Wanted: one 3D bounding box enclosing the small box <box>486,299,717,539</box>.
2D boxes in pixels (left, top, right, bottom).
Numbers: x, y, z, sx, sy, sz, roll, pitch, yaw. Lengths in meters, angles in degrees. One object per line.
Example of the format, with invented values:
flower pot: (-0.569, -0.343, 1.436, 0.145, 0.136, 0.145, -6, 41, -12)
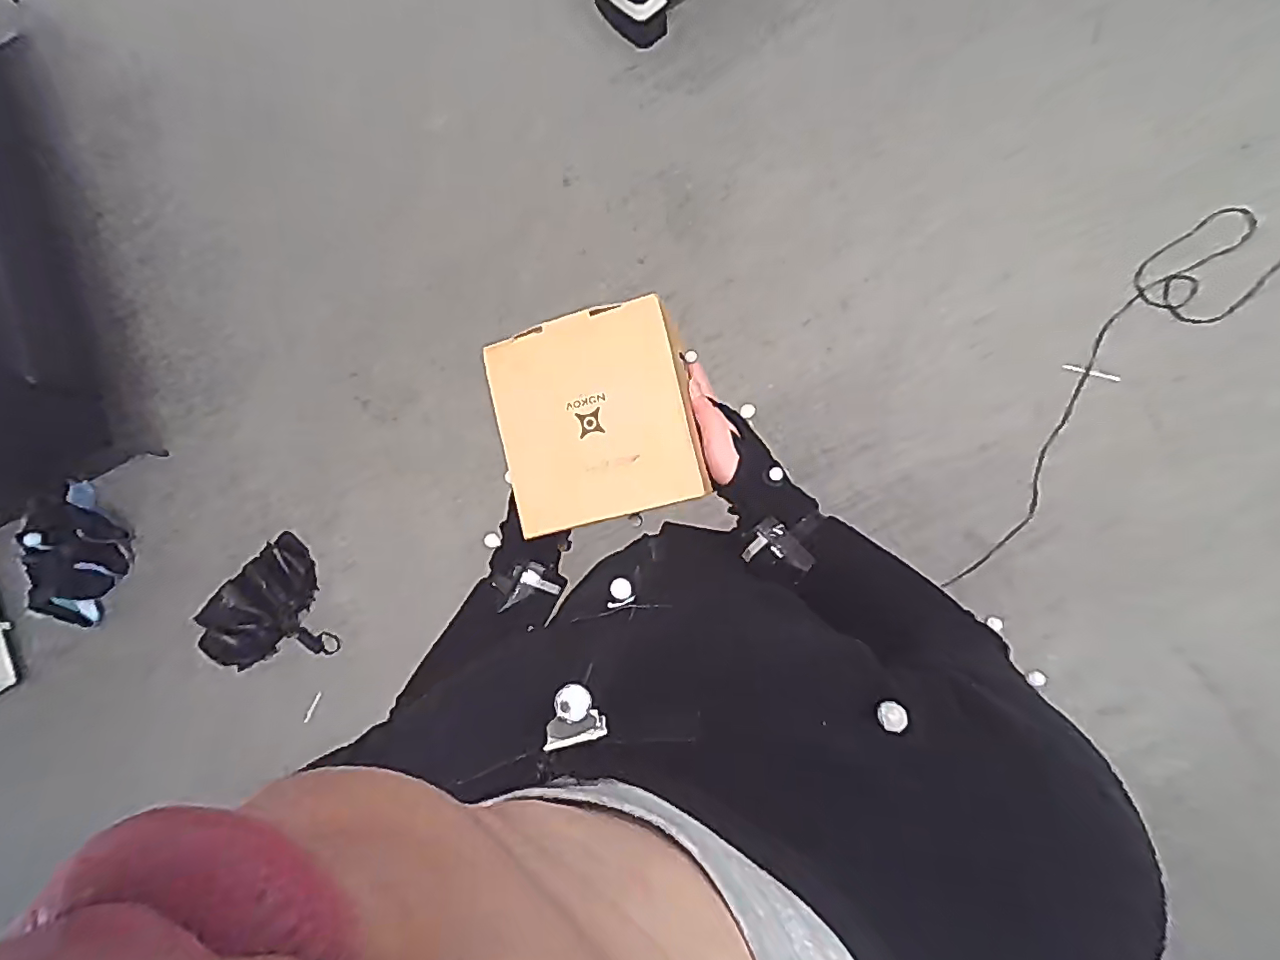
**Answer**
small box: (-0.025, -0.051, 0.537, 0.168, 0.176, 0.179, -14, 90, 12)
